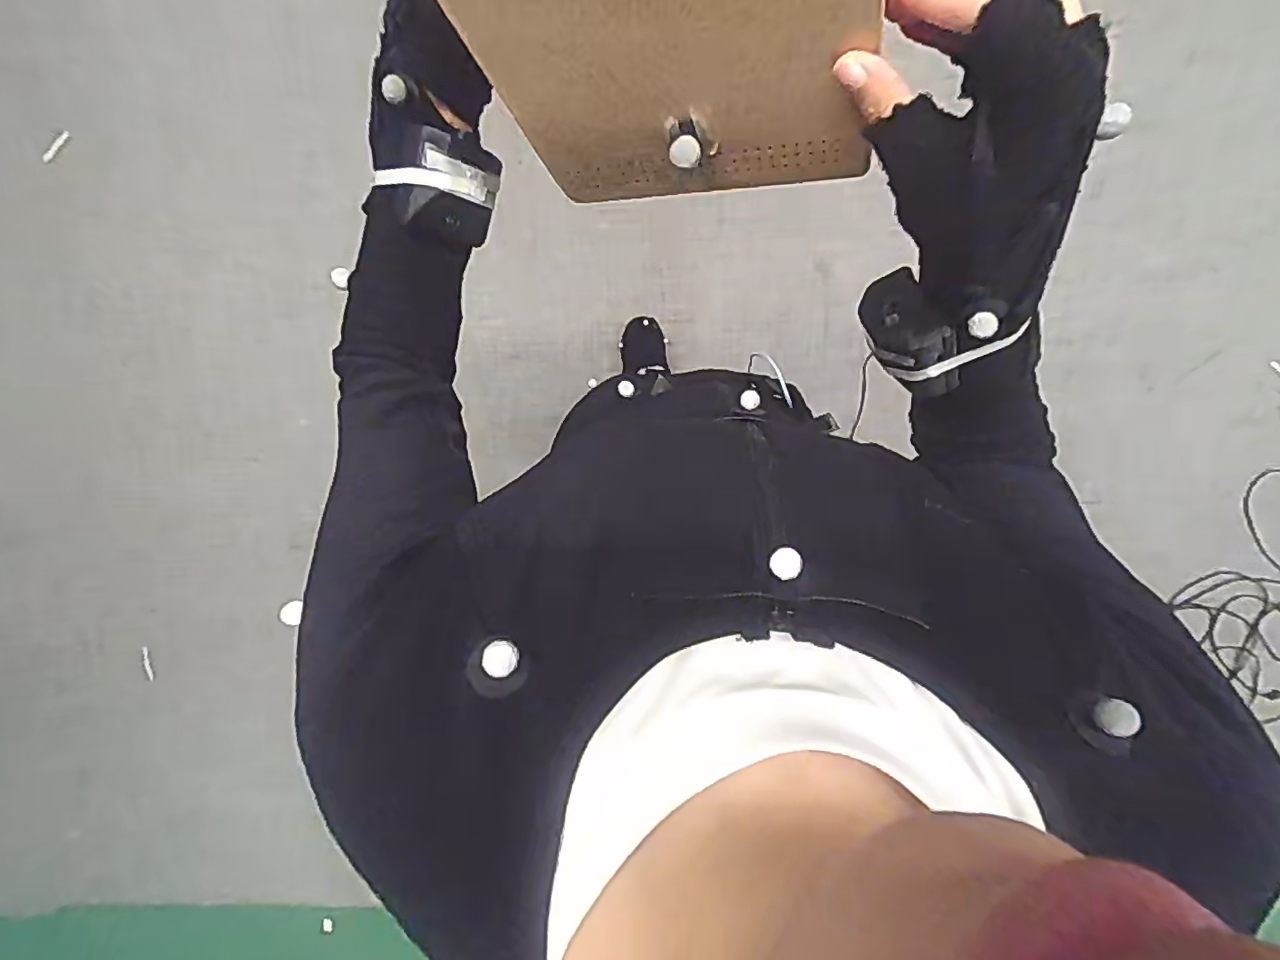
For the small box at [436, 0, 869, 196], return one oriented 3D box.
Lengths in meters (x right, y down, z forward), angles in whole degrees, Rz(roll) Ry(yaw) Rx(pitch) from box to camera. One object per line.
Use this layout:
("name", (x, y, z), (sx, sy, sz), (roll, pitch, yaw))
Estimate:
("small box", (0.020, -0.267, 0.258), (0.179, 0.176, 0.168), (5, 80, 21))
